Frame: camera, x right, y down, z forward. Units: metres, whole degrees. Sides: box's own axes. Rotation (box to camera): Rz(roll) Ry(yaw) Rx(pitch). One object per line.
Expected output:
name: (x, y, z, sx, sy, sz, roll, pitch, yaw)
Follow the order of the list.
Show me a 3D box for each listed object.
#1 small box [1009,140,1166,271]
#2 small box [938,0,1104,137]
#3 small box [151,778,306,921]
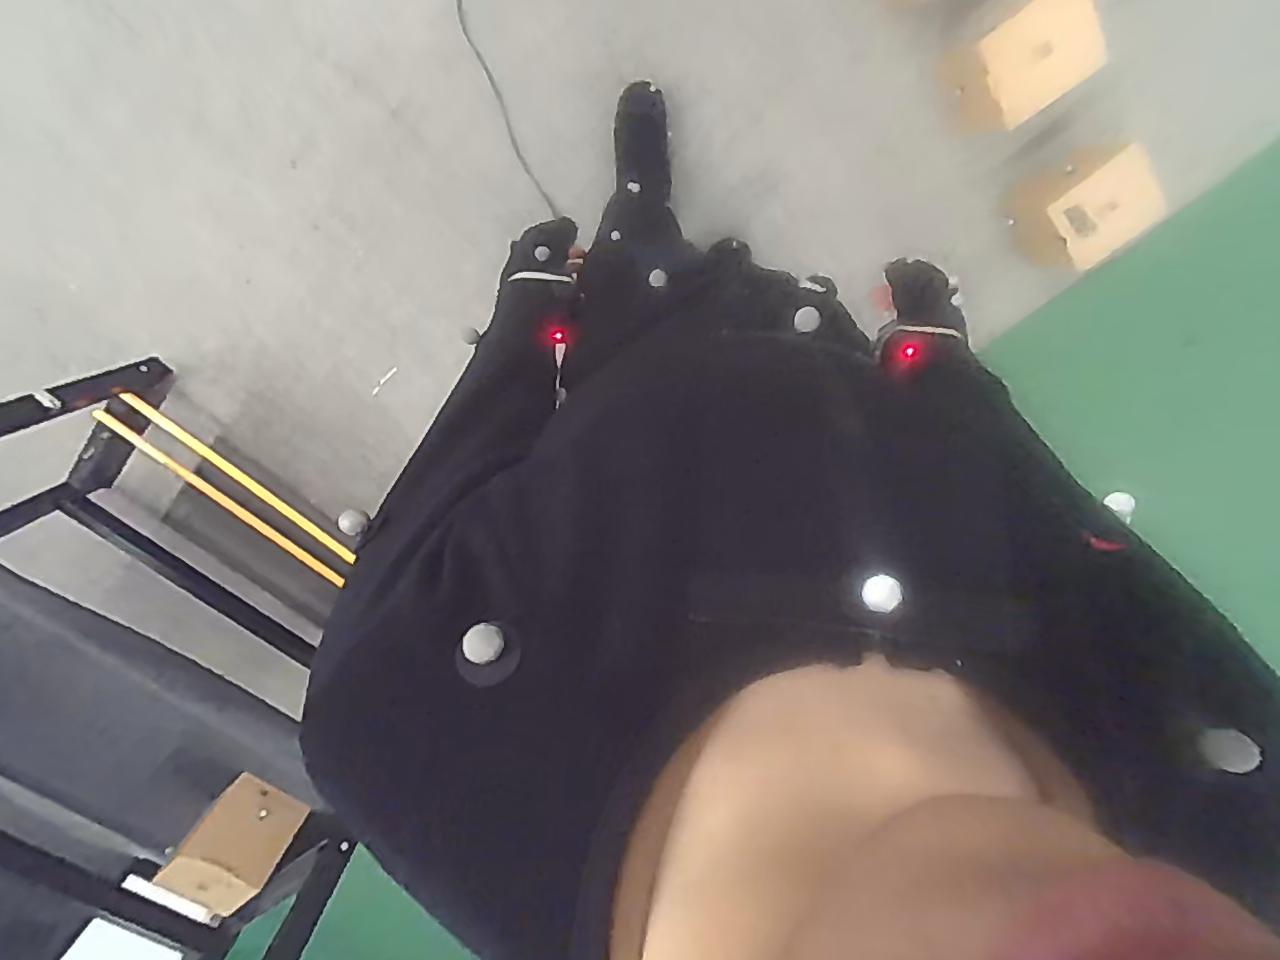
small box: (0.917, -0.567, 1.130, 0.179, 0.176, 0.168, -38, 109, 20)
small box: (0.713, -0.791, 1.028, 0.179, 0.176, 0.168, -32, 111, 19)
small box: (-0.846, 0.766, 1.129, 0.168, 0.176, 0.179, 42, 113, -17)
